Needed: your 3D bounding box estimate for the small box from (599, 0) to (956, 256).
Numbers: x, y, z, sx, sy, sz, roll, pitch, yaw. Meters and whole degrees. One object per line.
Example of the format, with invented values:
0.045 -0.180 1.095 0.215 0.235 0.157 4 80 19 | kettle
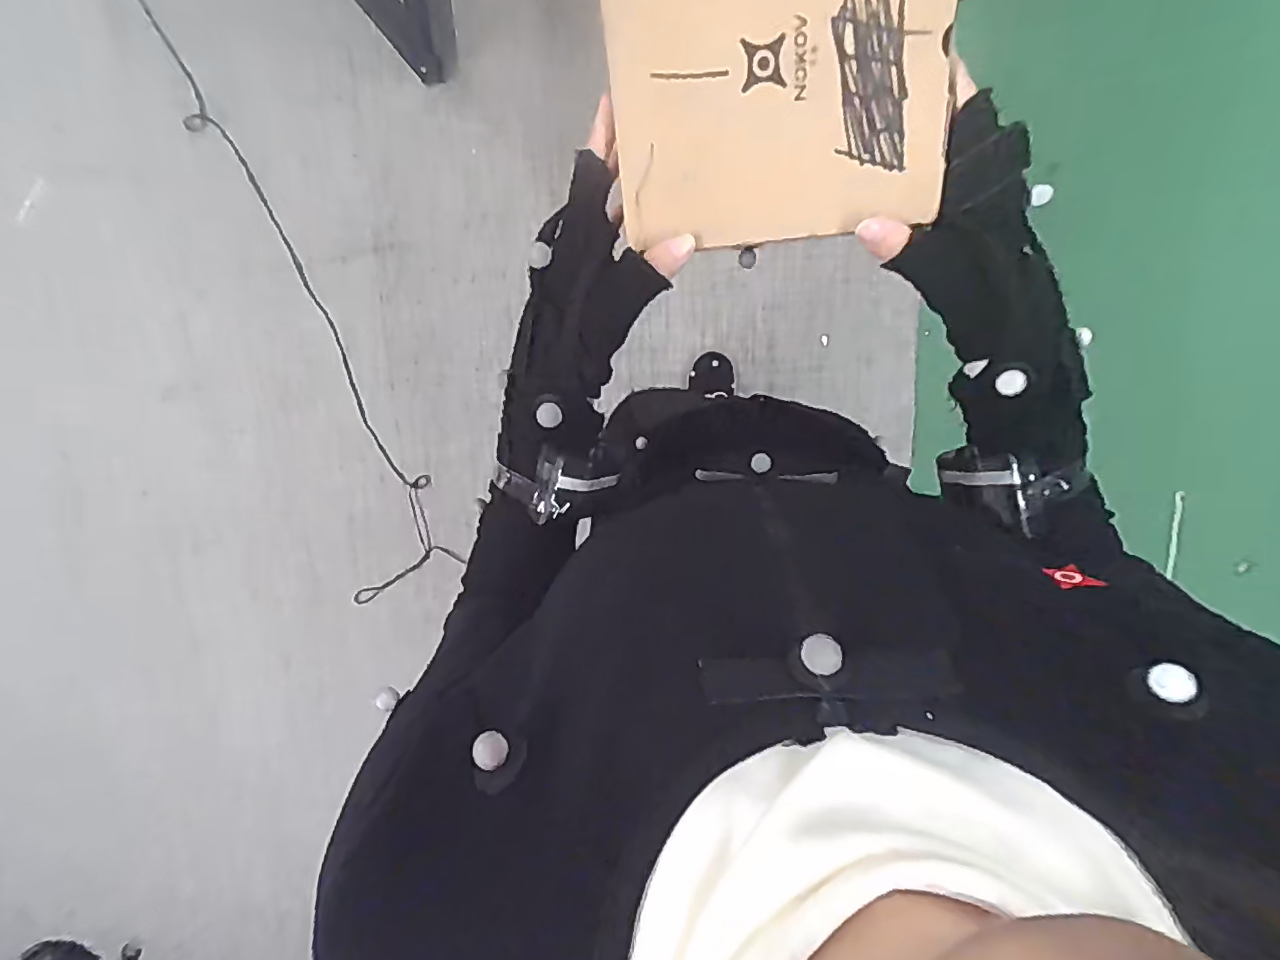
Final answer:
0.071 -0.247 0.346 0.179 0.176 0.168 -8 114 4 | small box
